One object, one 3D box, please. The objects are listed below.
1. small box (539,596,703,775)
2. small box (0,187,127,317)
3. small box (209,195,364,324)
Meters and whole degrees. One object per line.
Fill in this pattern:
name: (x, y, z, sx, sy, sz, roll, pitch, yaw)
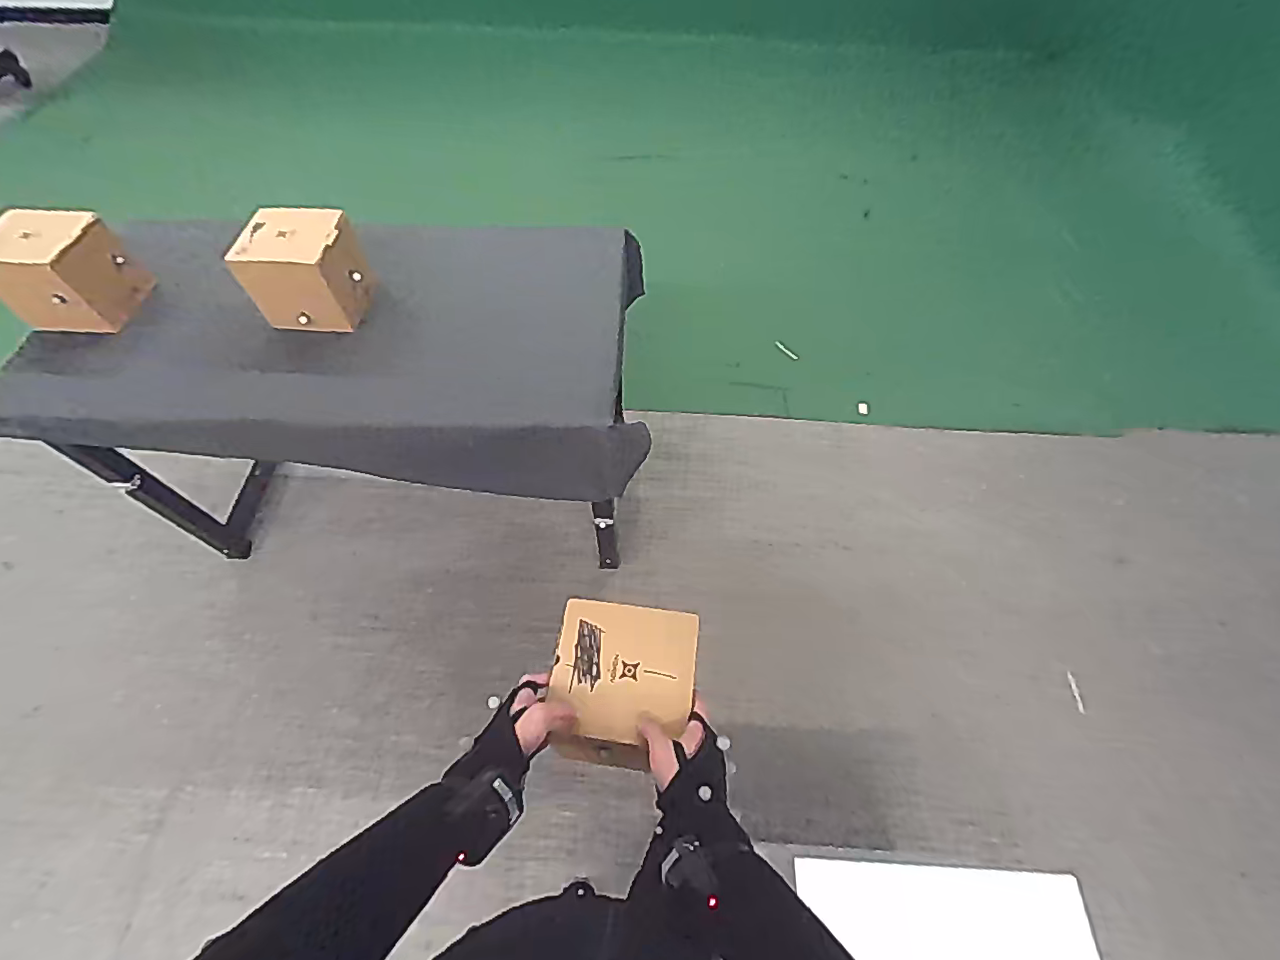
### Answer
small box: (-0.018, 0.270, 0.702, 0.179, 0.176, 0.168, 7, 53, 3)
small box: (-1.158, -0.430, 1.032, 0.179, 0.176, 0.168, 2, 56, -2)
small box: (-0.677, -0.428, 1.065, 0.179, 0.176, 0.168, 4, 57, -2)
